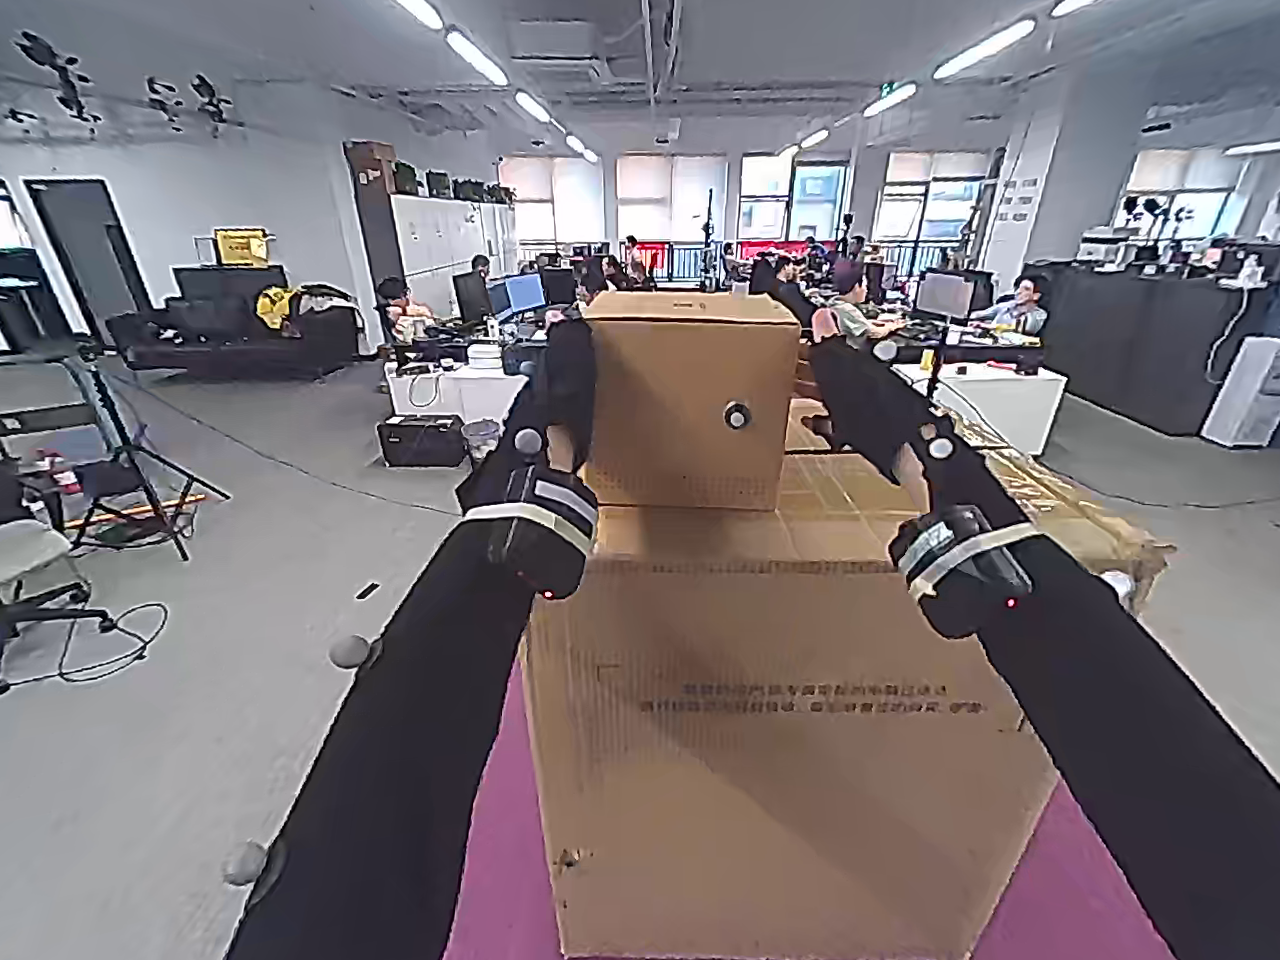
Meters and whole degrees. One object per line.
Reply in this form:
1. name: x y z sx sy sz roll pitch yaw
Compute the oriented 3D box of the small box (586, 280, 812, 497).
1. small box: 0.048 -0.092 0.517 0.179 0.176 0.168 1 25 3
